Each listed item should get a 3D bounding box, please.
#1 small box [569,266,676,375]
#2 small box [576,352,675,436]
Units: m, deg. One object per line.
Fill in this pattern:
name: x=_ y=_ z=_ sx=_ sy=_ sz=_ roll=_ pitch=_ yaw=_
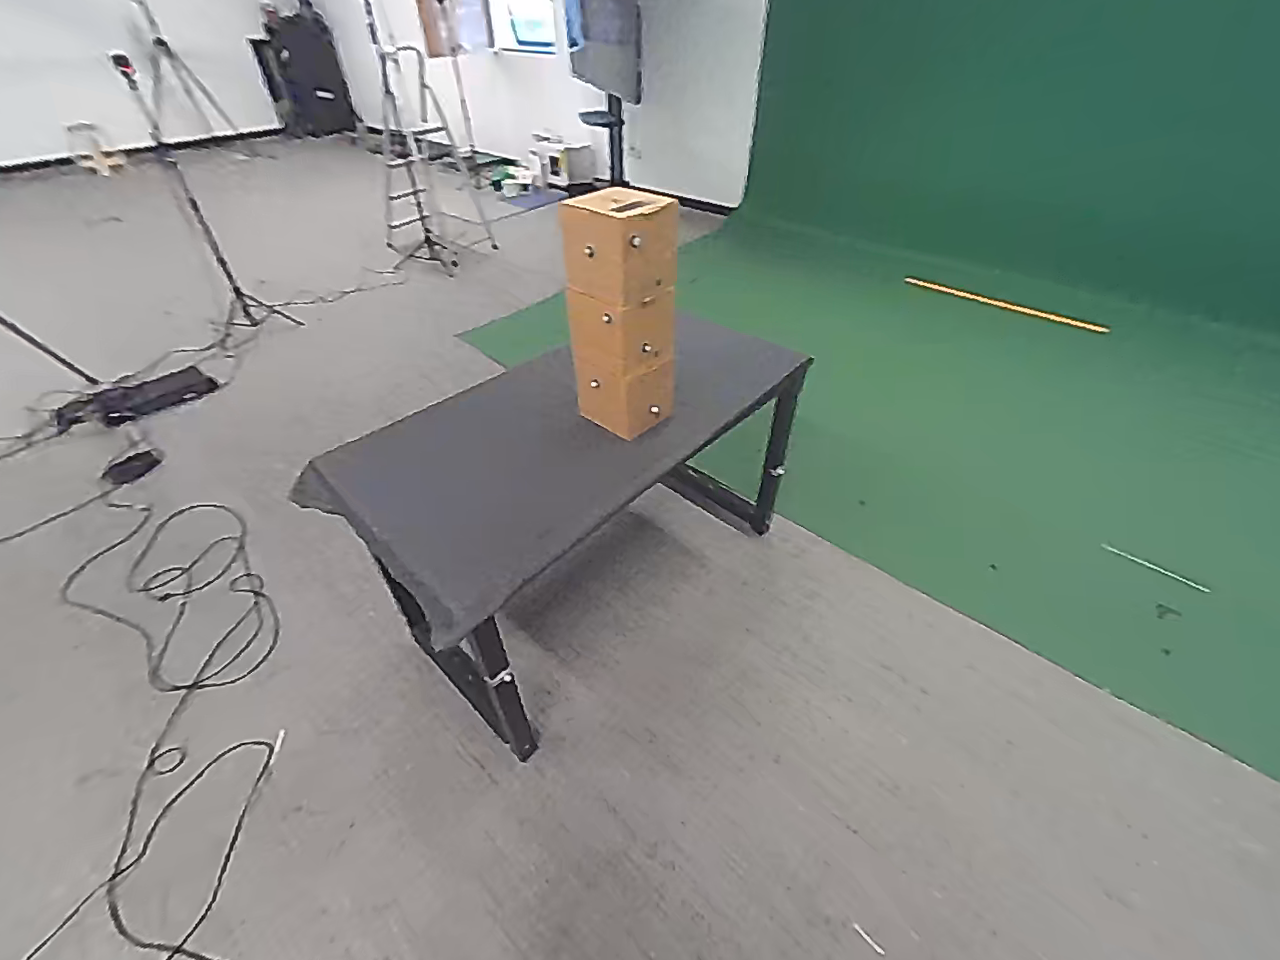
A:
small box: x=-0.039 y=-0.357 z=1.212 sx=0.179 sy=0.176 sz=0.168 roll=32 pitch=50 yaw=31
small box: x=-0.035 y=-0.233 z=1.316 sx=0.179 sy=0.176 sz=0.168 roll=32 pitch=51 yaw=31
